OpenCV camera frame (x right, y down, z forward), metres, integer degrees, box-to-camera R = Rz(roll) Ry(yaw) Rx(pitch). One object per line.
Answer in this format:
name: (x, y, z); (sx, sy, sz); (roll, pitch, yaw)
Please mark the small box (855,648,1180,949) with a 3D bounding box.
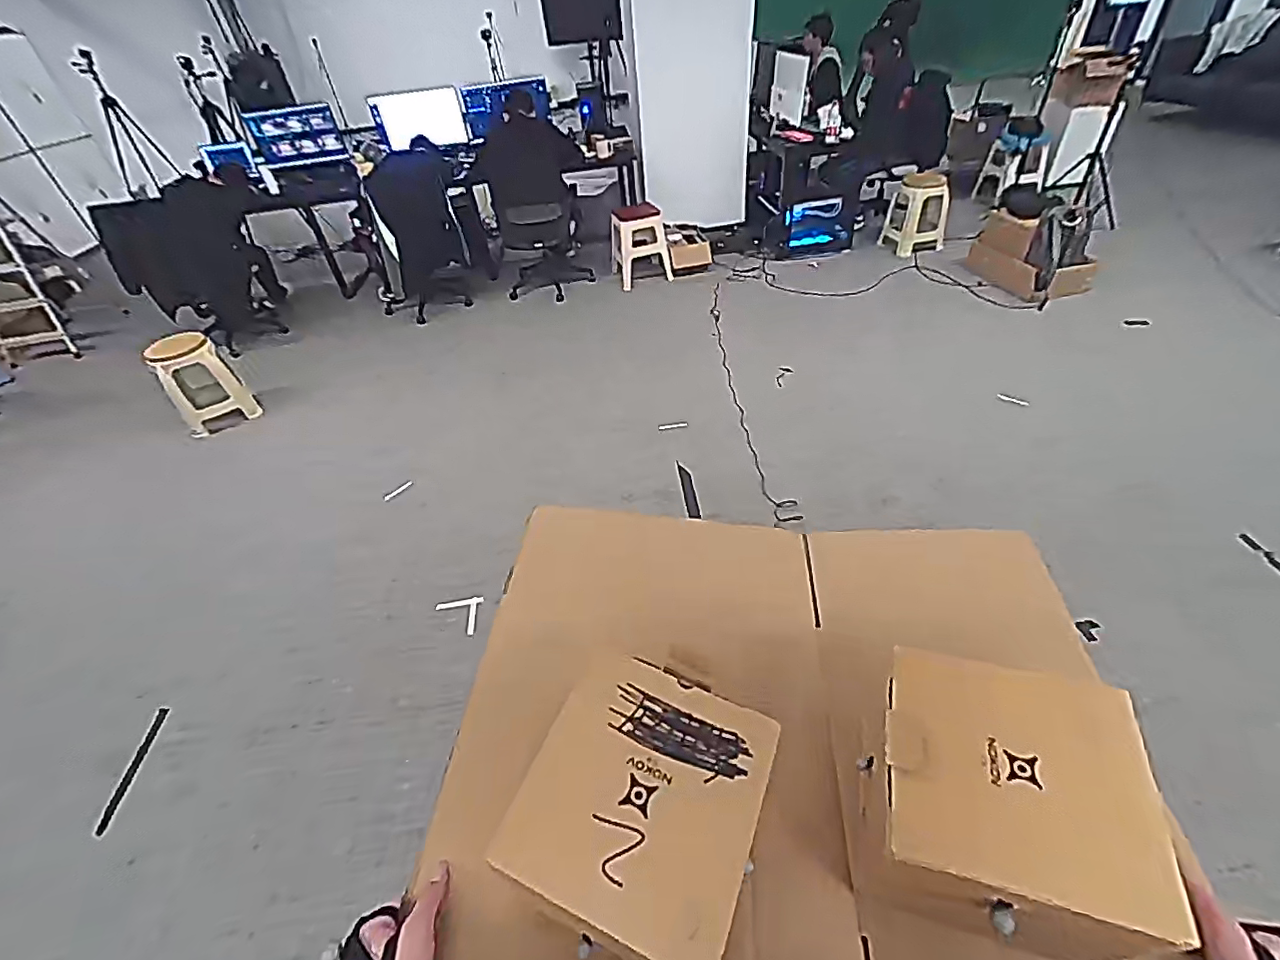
small box: (0.295, 0.276, 0.472); (0.179, 0.176, 0.168); (7, 47, 19)
